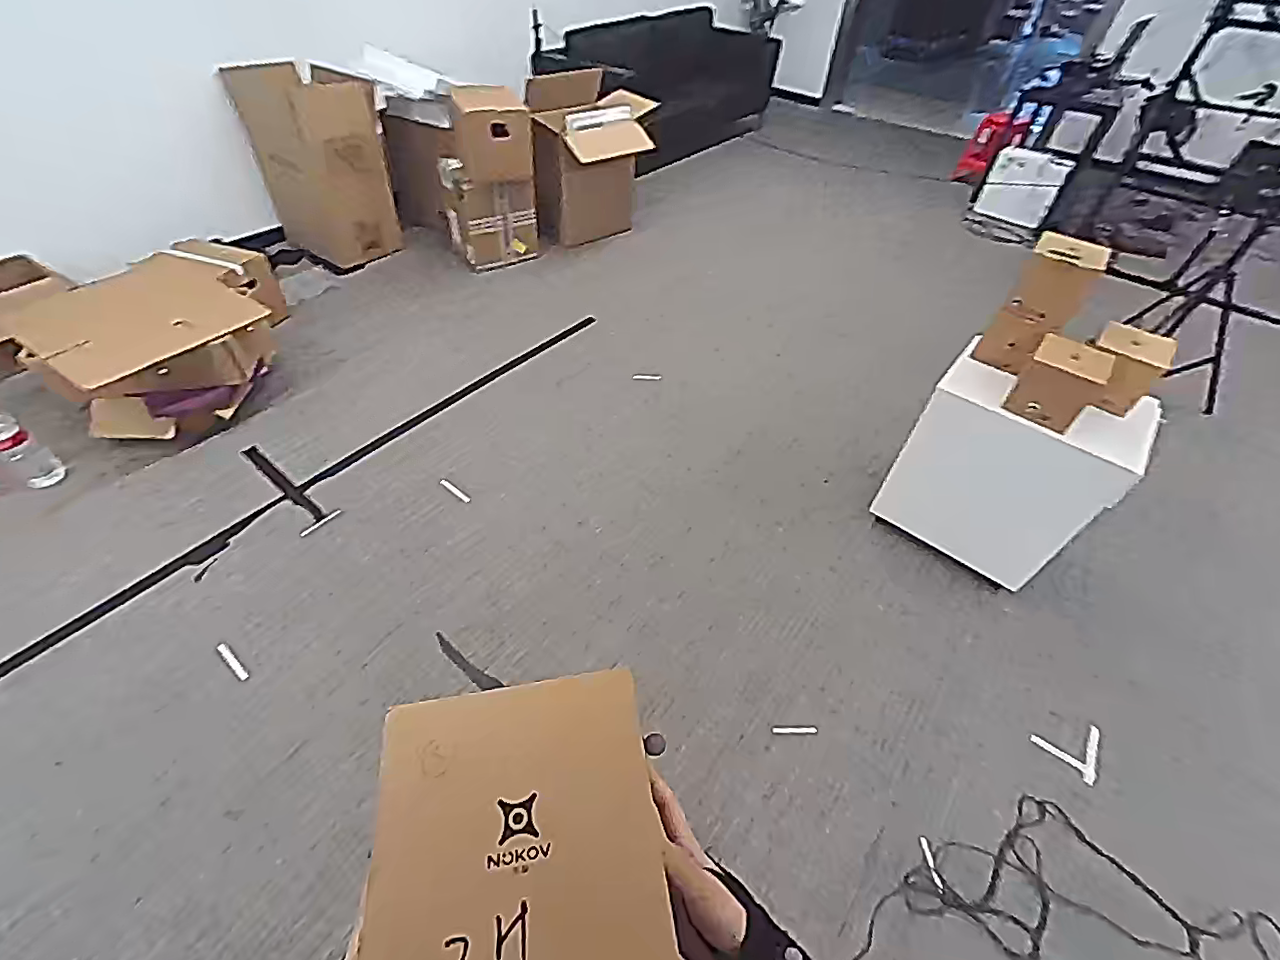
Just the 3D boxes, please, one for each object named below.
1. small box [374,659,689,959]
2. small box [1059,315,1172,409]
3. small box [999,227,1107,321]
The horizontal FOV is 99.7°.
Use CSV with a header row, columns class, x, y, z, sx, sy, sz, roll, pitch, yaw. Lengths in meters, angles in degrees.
class,x,y,z,sx,sy,sz,roll,pitch,yaw
small box,-0.068,0.251,0.386,0.168,0.176,0.179,-7,53,-6
small box,1.313,-0.325,1.501,0.168,0.176,0.179,33,54,25
small box,1.125,-0.562,1.482,0.168,0.176,0.179,31,53,22
